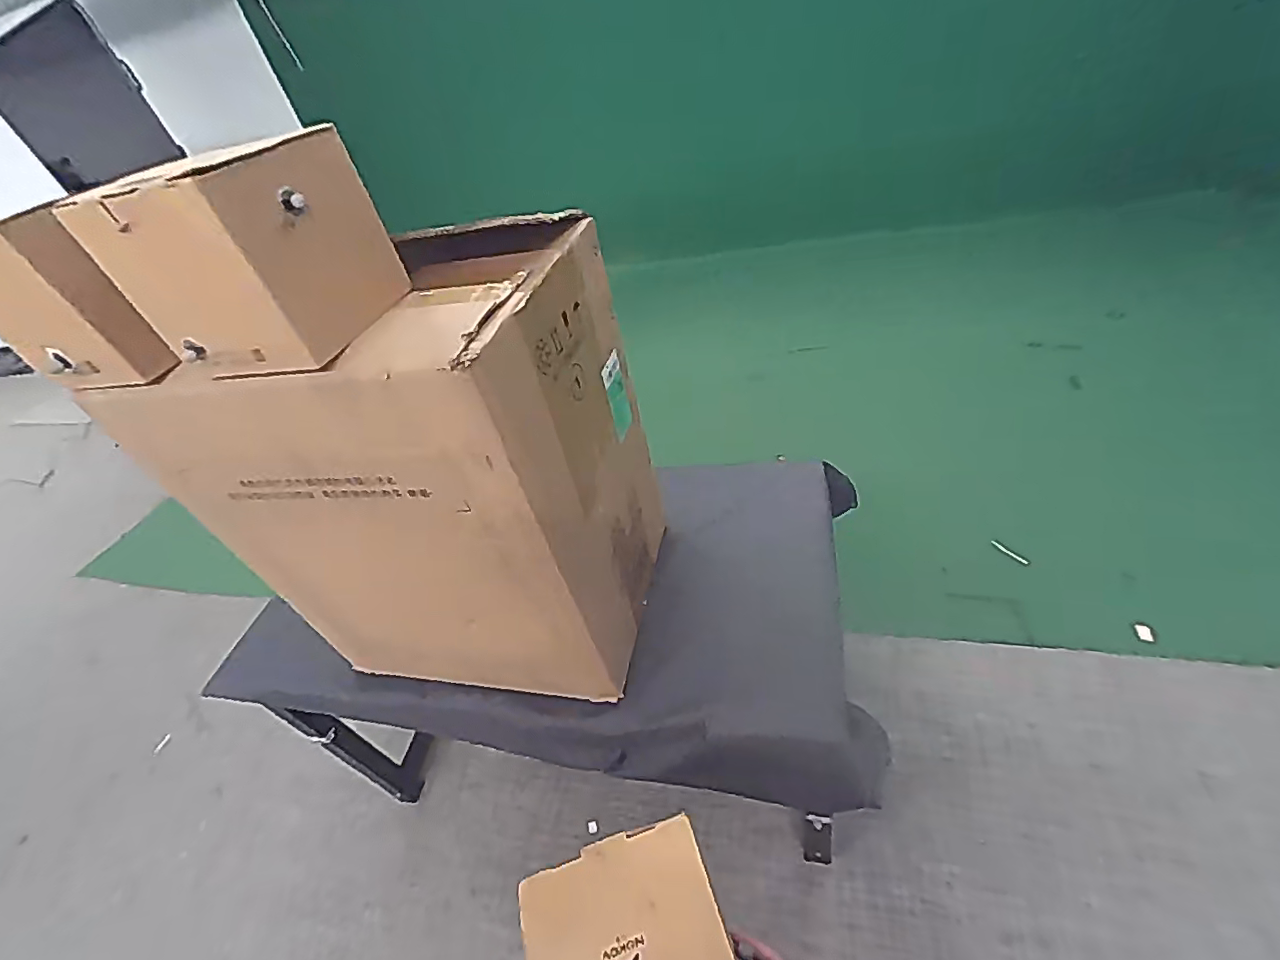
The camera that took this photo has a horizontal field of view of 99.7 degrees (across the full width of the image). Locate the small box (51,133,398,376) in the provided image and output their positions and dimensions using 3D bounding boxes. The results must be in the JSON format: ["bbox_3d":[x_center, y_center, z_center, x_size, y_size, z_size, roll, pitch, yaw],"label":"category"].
[{"bbox_3d":[-0.378,-0.214,0.534,0.168,0.176,0.179,-1,42,16],"label":"small box"}]

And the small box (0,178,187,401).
[{"bbox_3d":[-0.599,-0.207,0.603,0.168,0.176,0.179,-2,43,19],"label":"small box"}]

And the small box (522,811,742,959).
[{"bbox_3d":[0.008,0.444,0.477,0.168,0.176,0.179,-20,37,-7],"label":"small box"}]
